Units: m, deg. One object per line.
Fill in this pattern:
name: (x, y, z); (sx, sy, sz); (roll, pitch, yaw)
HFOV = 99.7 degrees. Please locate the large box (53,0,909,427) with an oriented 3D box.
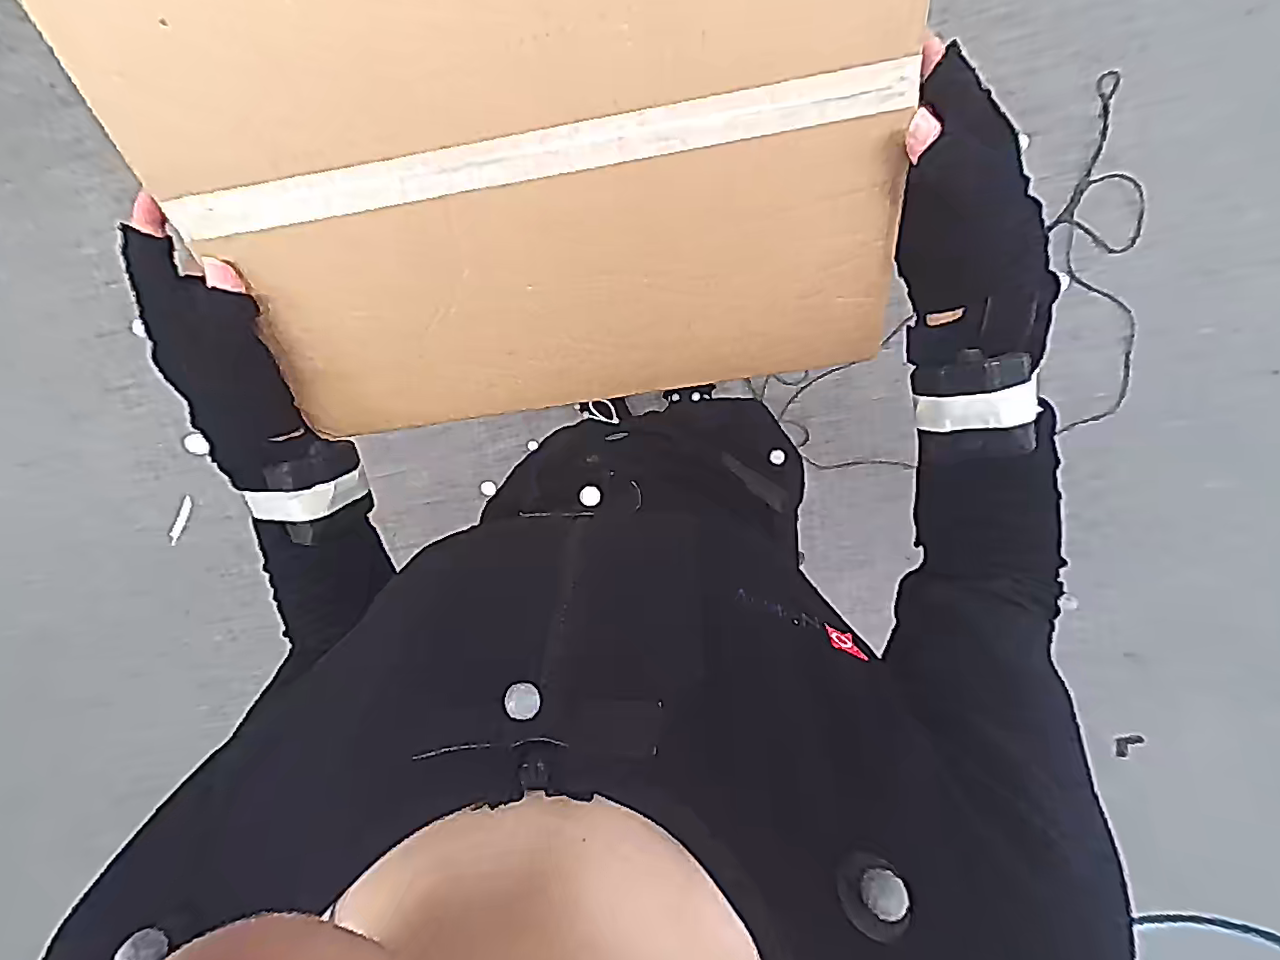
large box: (-0.064, -0.279, 0.406); (0.408, 0.320, 0.320); (-8, 129, 5)
